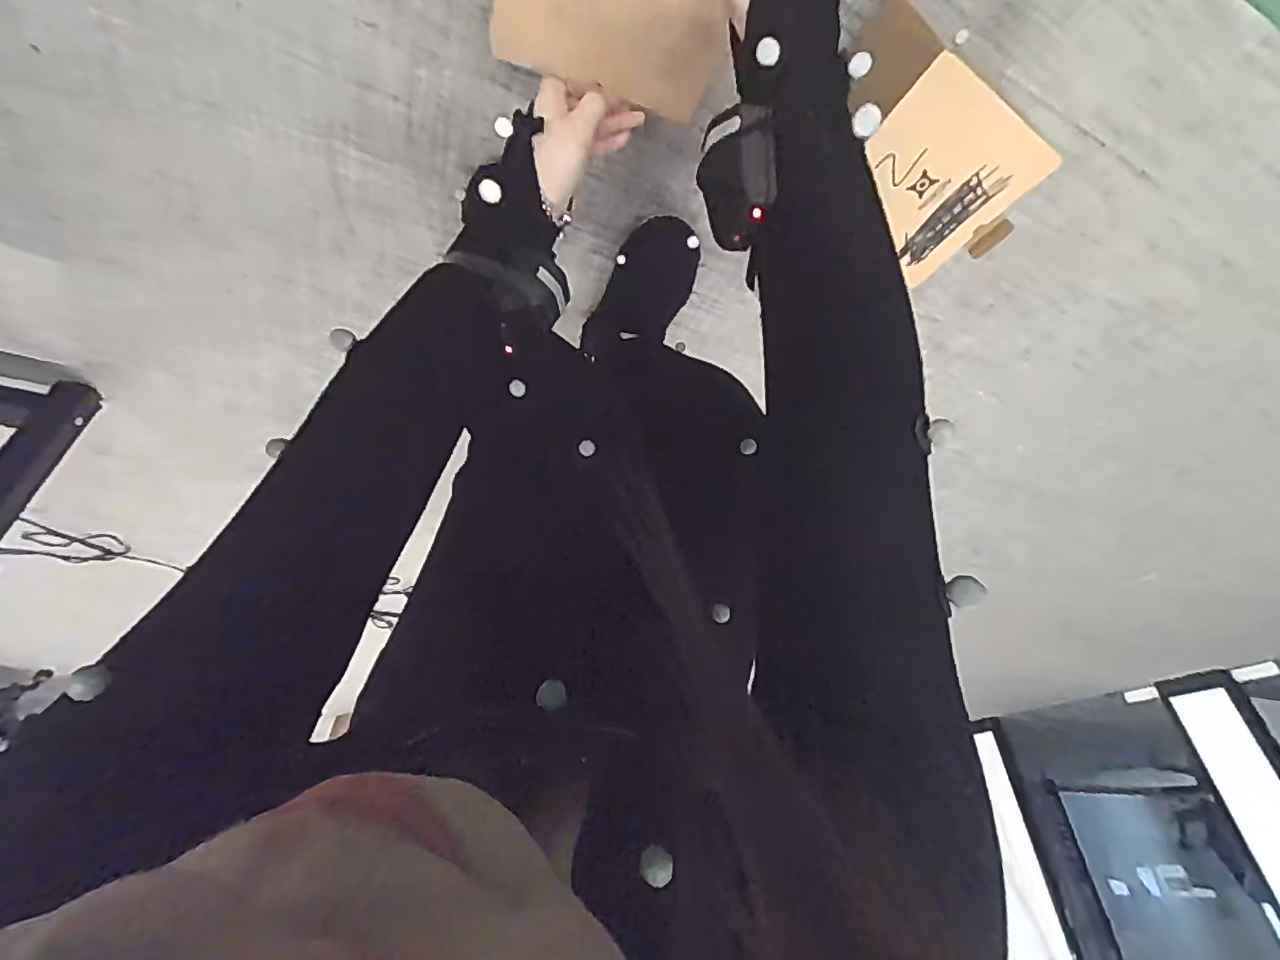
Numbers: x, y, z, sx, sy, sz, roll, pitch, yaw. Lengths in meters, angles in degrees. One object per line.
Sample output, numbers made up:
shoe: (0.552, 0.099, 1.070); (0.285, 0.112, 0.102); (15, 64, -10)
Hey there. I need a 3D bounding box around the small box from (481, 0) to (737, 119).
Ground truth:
small box: (-0.012, -0.410, 0.375); (0.168, 0.176, 0.179); (6, 154, -18)
